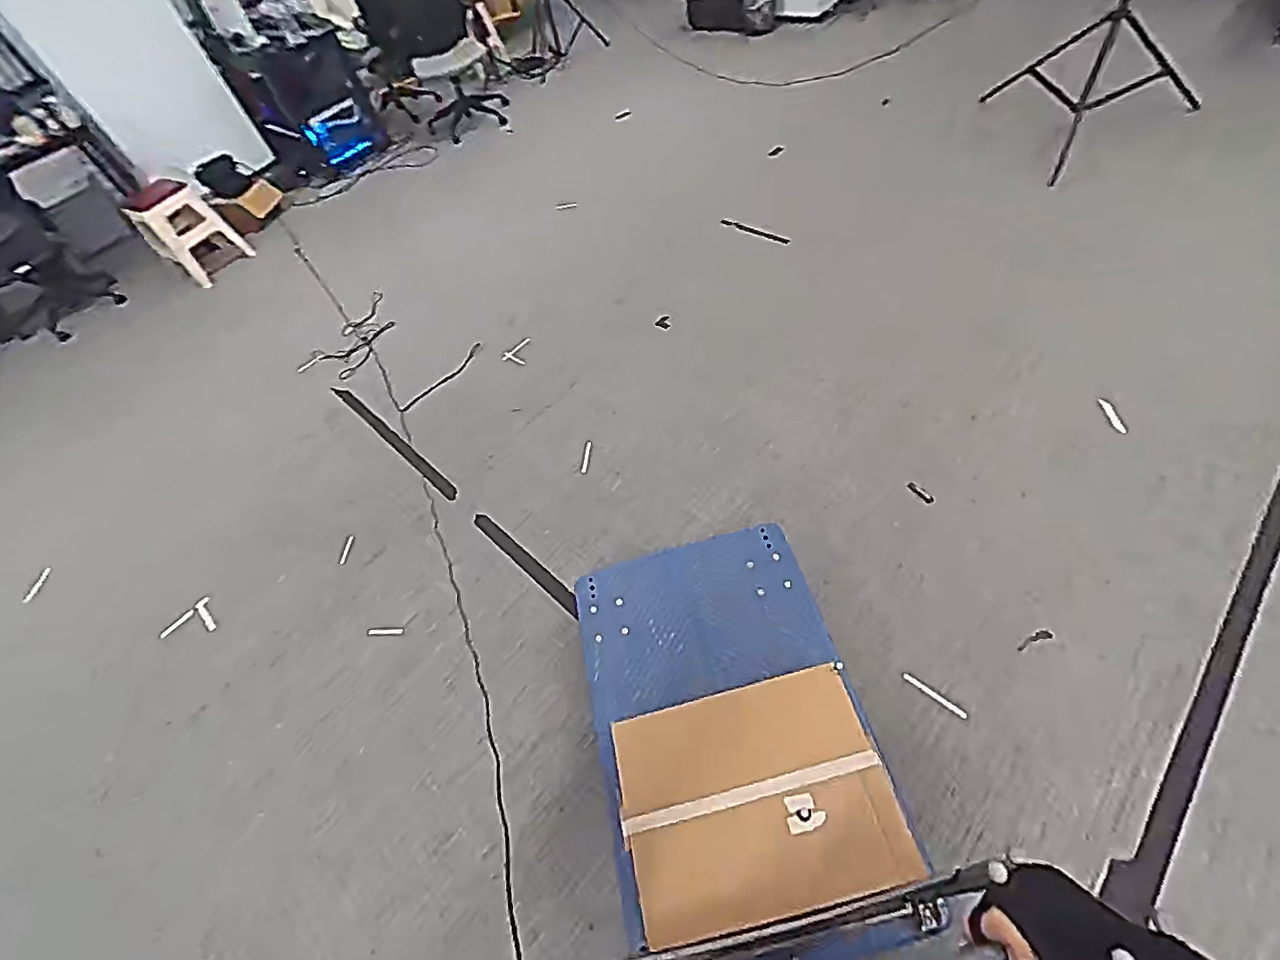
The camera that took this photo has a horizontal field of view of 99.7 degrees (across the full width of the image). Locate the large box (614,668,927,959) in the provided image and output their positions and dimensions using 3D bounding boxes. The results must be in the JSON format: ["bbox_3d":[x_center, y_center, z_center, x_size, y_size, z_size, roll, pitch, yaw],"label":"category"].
[{"bbox_3d":[0.202,0.585,0.951,0.408,0.320,0.320,-16,51,1],"label":"large box"}]
